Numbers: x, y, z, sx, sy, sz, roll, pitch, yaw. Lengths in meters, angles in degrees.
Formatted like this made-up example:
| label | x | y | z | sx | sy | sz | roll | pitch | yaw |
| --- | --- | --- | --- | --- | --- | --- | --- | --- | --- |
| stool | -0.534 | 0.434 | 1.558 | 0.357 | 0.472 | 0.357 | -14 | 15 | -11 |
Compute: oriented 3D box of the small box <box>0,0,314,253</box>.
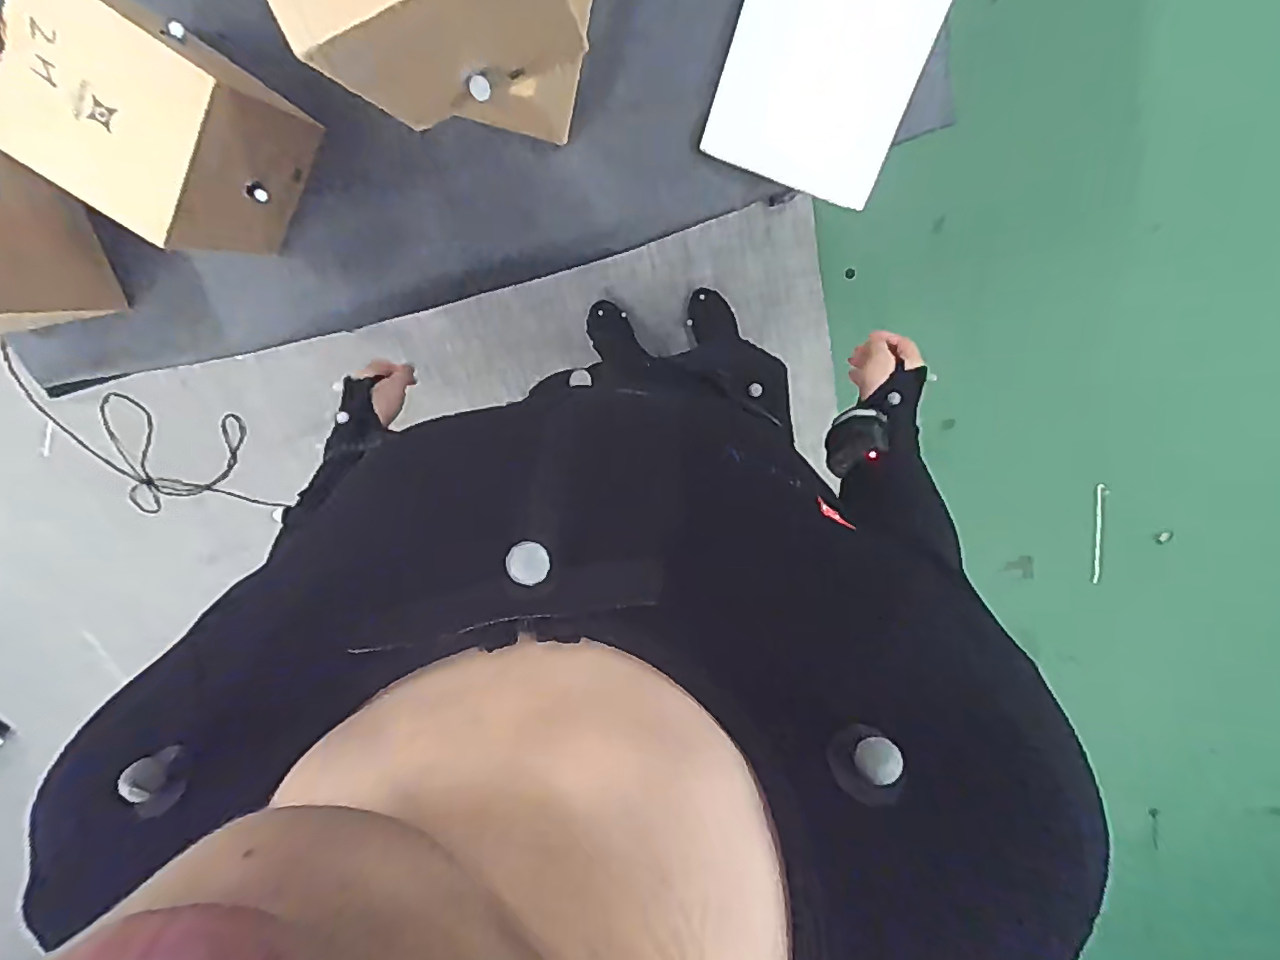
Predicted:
| label | x | y | z | sx | sy | sz | roll | pitch | yaw |
| --- | --- | --- | --- | --- | --- | --- | --- | --- | --- |
| small box | -0.481 | -0.355 | 0.552 | 0.179 | 0.176 | 0.168 | 33 | 108 | -9 |

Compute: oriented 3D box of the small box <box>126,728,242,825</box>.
| label | x | y | z | sx | sy | sz | roll | pitch | yaw |
| --- | --- | --- | --- | --- | --- | --- | --- | --- | --- |
| small box | -1.234 | 0.808 | 1.484 | 0.179 | 0.176 | 0.168 | 6 | 111 | -2 |

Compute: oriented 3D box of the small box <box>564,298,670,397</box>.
| label | x | y | z | sx | sy | sz | roll | pitch | yaw |
| --- | --- | --- | --- | --- | --- | --- | --- | --- | --- |
| small box | -0.051 | -0.317 | 1.309 | 0.176 | 0.168 | 0.179 | 20 | 89 | -36 |

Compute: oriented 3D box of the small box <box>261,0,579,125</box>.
| label | x | y | z | sx | sy | sz | roll | pitch | yaw |
| --- | --- | --- | --- | --- | --- | --- | --- | --- | --- |
| small box | -0.154 | -0.376 | 0.355 | 0.168 | 0.176 | 0.179 | -18 | 109 | 10 |

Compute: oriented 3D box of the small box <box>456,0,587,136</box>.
| label | x | y | z | sx | sy | sz | roll | pitch | yaw |
| --- | --- | --- | --- | --- | --- | --- | --- | --- | --- |
| small box | -0.153 | -0.446 | 0.504 | 0.179 | 0.176 | 0.168 | 14 | 110 | -2 |
